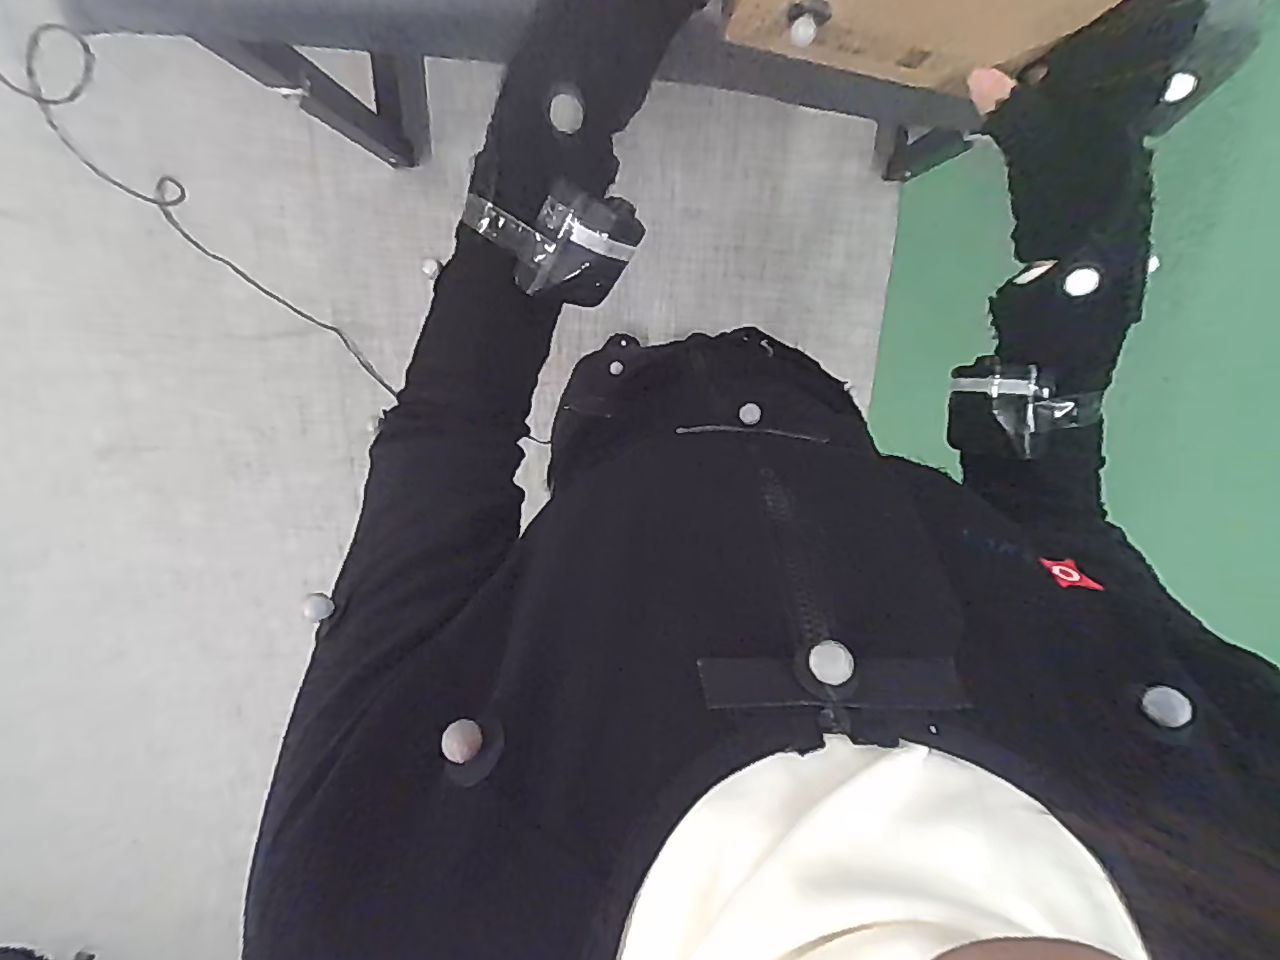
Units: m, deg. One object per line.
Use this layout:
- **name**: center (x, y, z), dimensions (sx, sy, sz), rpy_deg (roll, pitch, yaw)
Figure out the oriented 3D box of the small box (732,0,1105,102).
- **small box**: center (0.145, -0.304, 0.226), dimensions (0.168, 0.176, 0.179), rpy_deg (2, 95, -16)
